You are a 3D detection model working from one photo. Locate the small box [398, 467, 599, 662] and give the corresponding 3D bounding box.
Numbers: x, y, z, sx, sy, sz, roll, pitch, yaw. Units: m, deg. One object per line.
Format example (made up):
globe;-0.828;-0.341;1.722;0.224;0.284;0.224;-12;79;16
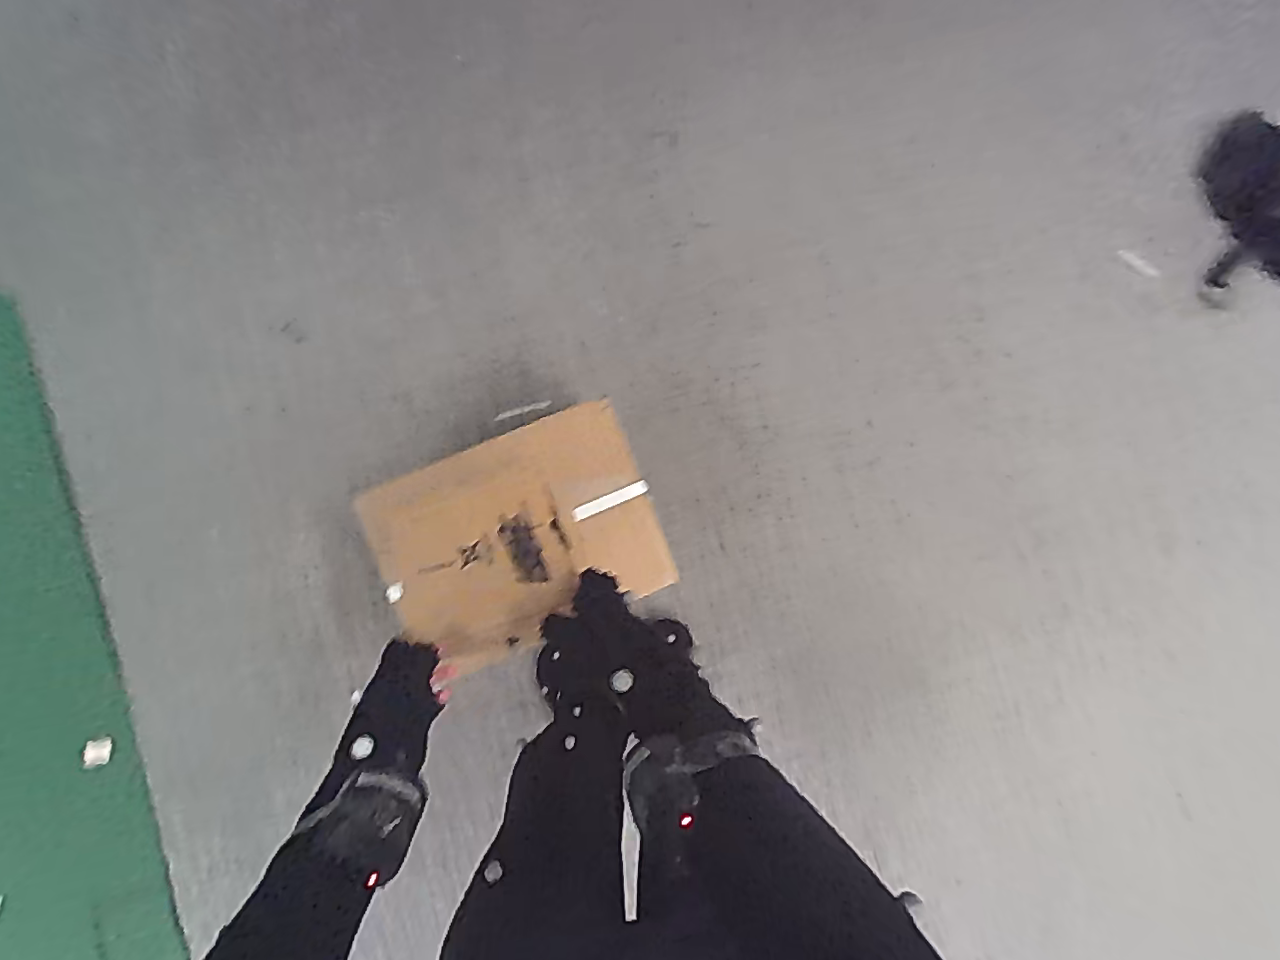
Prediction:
small box;-0.155;0.110;0.647;0.179;0.176;0.168;-20;69;-1
